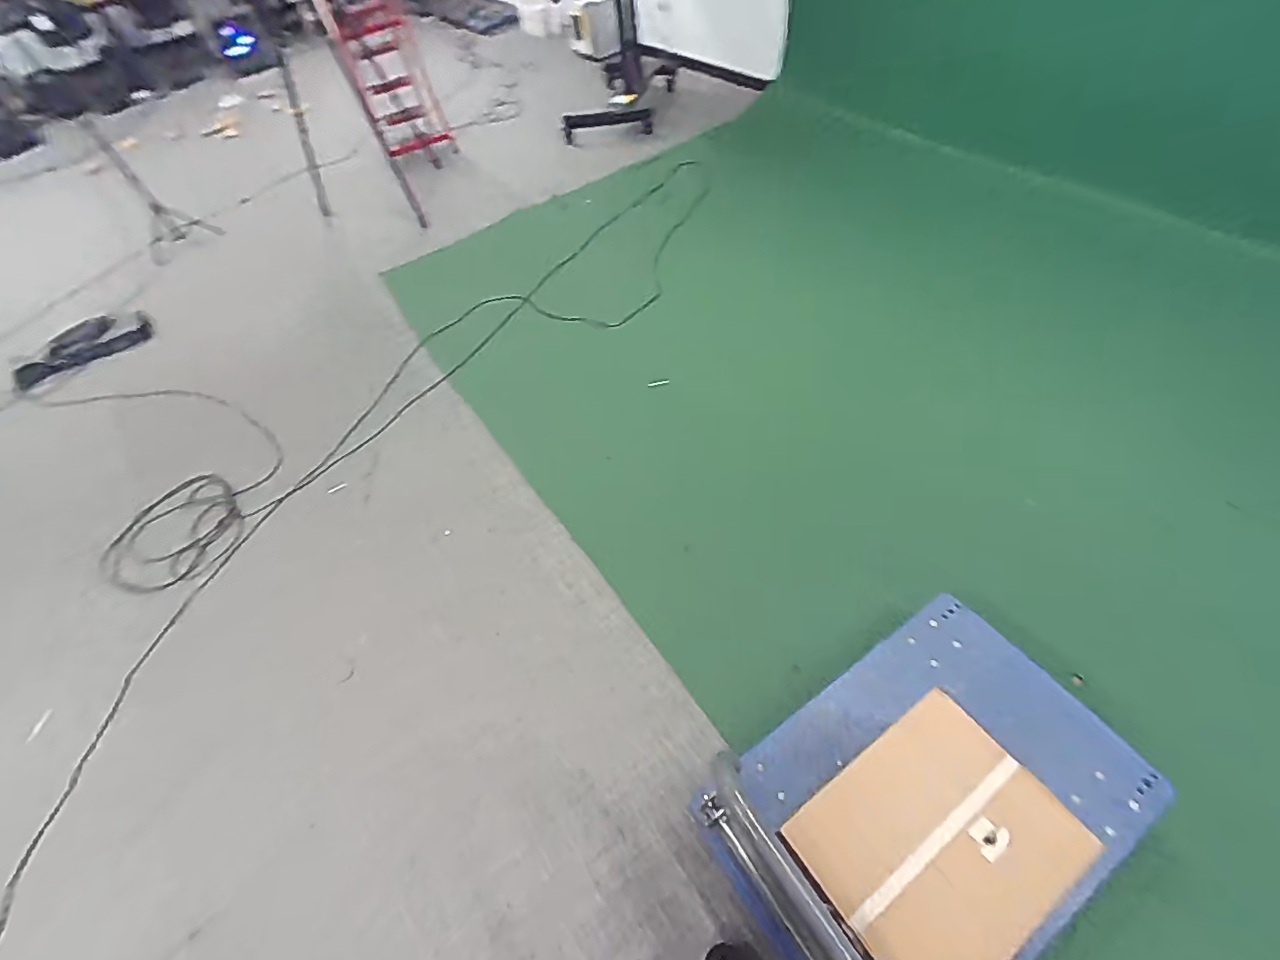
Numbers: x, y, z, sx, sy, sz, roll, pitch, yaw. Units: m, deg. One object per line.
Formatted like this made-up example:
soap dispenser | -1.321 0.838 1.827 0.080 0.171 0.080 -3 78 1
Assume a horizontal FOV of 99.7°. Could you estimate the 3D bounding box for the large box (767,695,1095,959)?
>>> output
large box | 0.495 0.691 1.003 0.408 0.320 0.320 -31 56 -16
